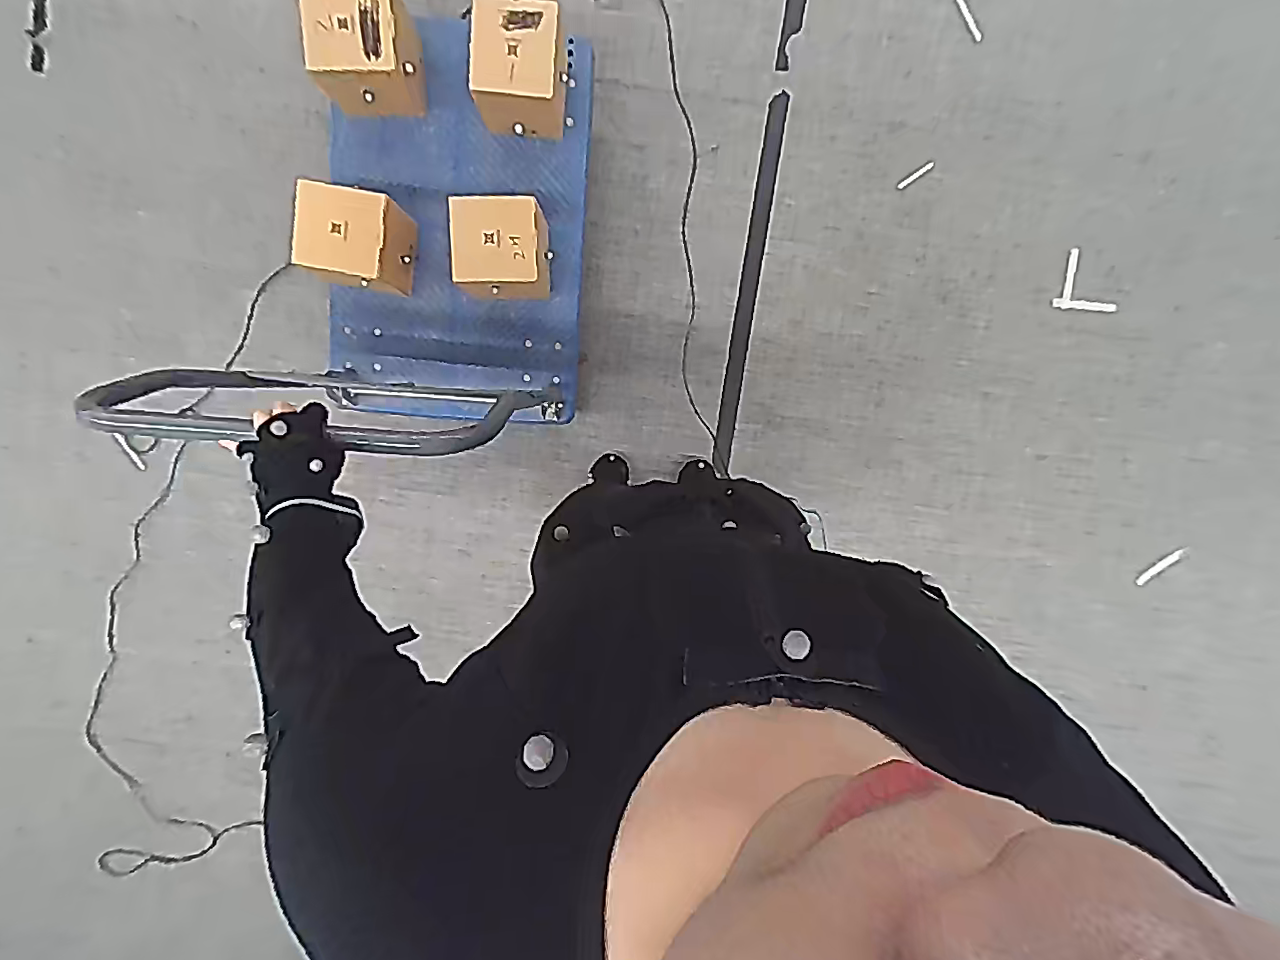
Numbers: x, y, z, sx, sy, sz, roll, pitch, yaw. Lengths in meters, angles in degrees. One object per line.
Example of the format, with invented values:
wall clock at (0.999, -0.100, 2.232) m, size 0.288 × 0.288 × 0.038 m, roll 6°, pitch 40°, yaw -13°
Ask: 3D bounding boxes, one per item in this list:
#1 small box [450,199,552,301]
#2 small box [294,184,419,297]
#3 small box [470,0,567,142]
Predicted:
small box at (-0.292, -0.488, 1.167) m, size 0.179 × 0.176 × 0.168 m, roll -1°, pitch 97°, yaw -1°
small box at (-0.600, -0.503, 1.159) m, size 0.179 × 0.176 × 0.168 m, roll 8°, pitch 97°, yaw -4°
small box at (-0.245, -0.843, 1.123) m, size 0.168 × 0.176 × 0.179 m, roll 5°, pitch 98°, yaw -2°
